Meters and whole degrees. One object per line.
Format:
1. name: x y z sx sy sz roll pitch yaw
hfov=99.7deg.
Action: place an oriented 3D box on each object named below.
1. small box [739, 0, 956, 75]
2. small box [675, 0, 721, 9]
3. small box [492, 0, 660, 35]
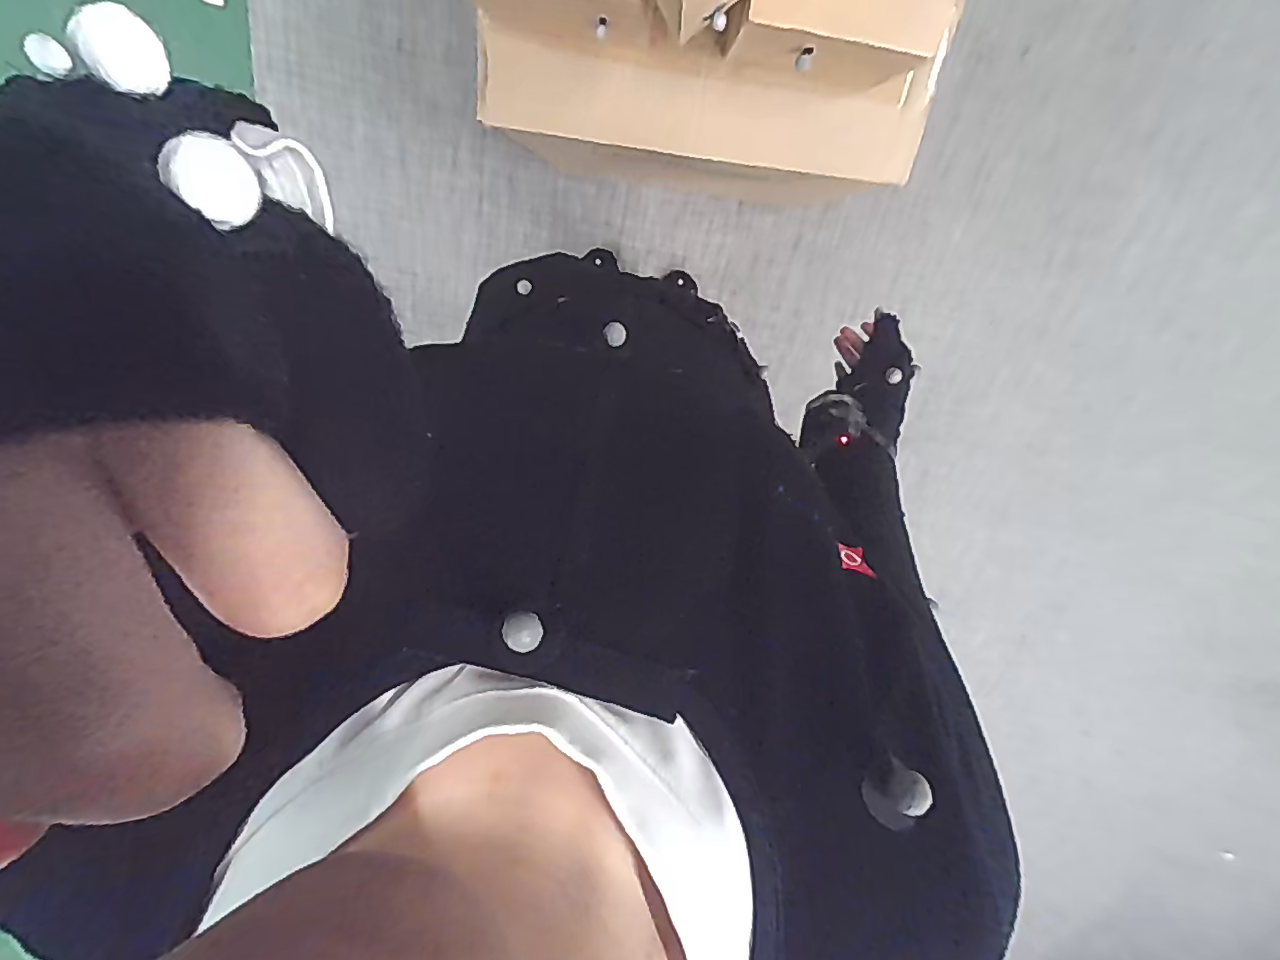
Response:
1. small box: 0.199 -0.505 0.507 0.179 0.176 0.168 10 119 -1
2. small box: 0.060 -0.459 0.351 0.168 0.176 0.179 -29 111 16
3. small box: -0.060 -0.541 0.499 0.179 0.176 0.168 7 117 0
